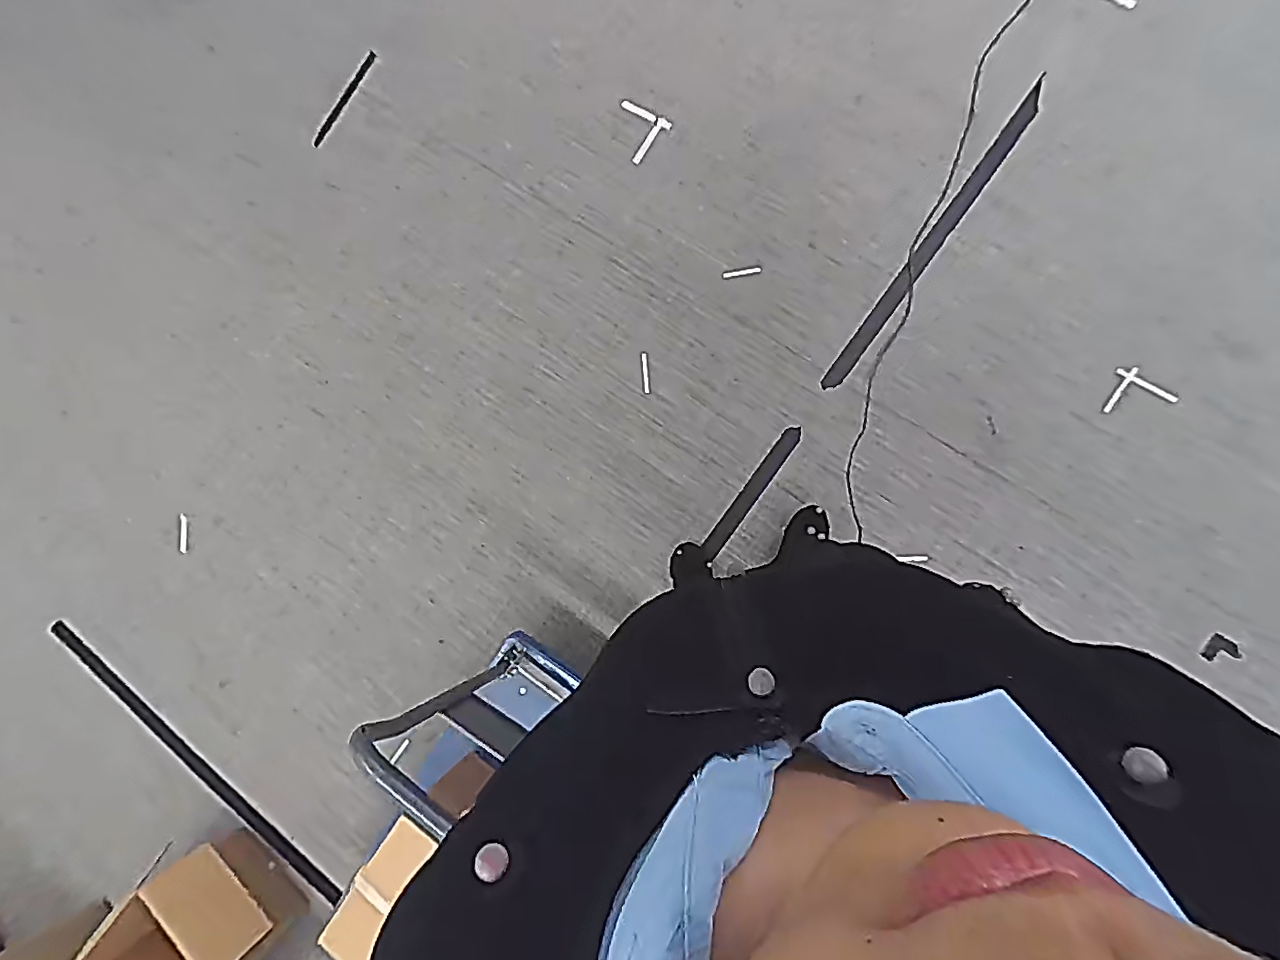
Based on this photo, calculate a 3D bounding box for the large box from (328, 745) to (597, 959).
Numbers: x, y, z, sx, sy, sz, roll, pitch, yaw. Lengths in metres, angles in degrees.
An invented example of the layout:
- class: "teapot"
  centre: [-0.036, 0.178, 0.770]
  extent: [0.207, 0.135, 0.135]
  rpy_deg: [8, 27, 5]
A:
- class: "large box"
  centre: [-0.366, 0.888, 1.201]
  extent: [0.408, 0.320, 0.320]
  rpy_deg: [34, 91, 9]
